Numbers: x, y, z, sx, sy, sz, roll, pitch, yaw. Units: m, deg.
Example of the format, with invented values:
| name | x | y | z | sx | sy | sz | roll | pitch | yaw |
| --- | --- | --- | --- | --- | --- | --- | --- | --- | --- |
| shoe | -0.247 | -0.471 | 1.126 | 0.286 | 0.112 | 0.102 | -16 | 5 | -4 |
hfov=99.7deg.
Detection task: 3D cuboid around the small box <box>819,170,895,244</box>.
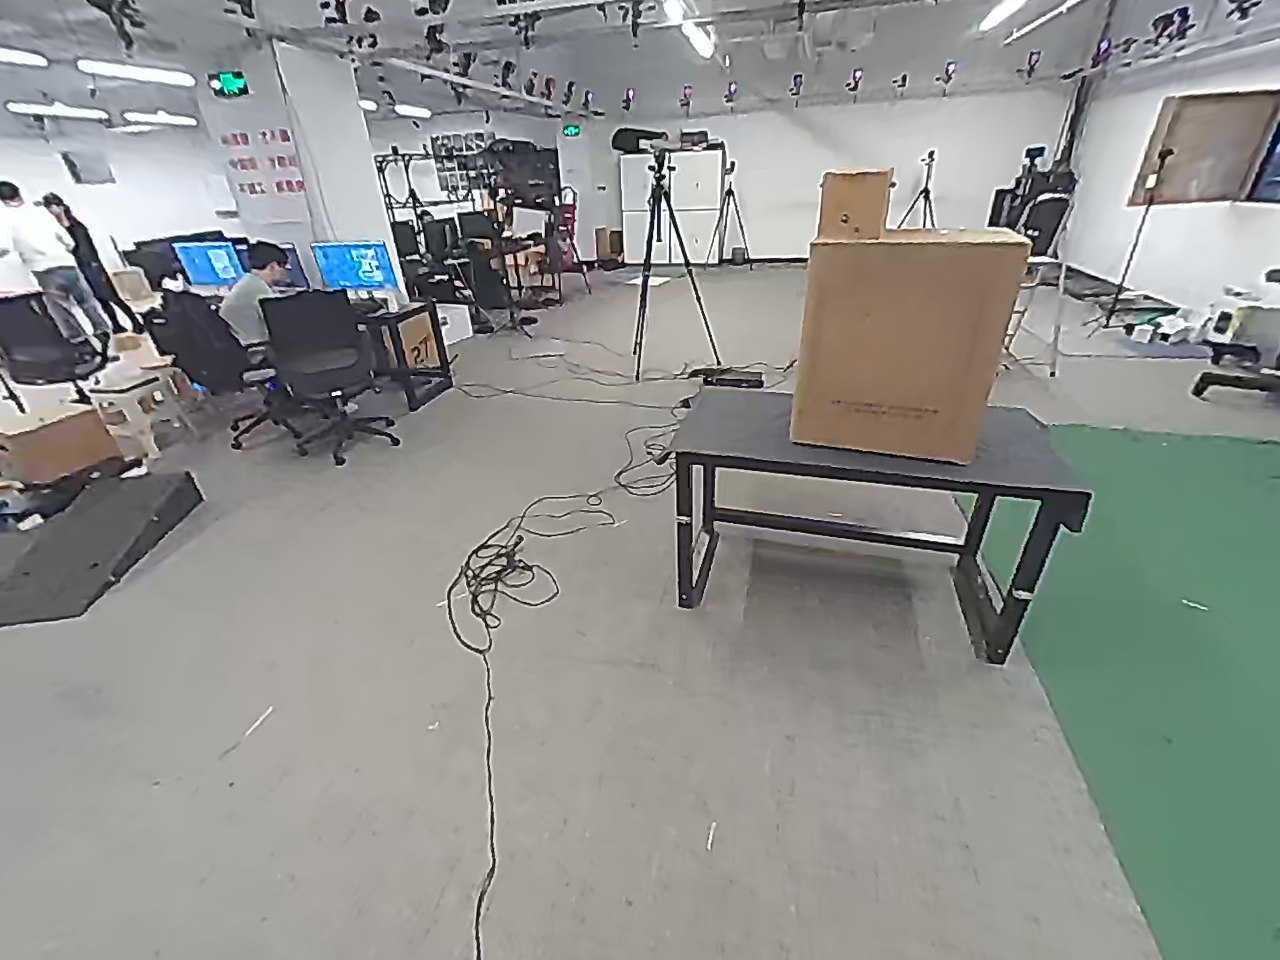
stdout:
| name | x | y | z | sx | sy | sz | roll | pitch | yaw |
| --- | --- | --- | --- | --- | --- | --- | --- | --- | --- |
| small box | 0.610 | -0.773 | 1.526 | 0.168 | 0.176 | 0.179 | 11 | 35 | 23 |
